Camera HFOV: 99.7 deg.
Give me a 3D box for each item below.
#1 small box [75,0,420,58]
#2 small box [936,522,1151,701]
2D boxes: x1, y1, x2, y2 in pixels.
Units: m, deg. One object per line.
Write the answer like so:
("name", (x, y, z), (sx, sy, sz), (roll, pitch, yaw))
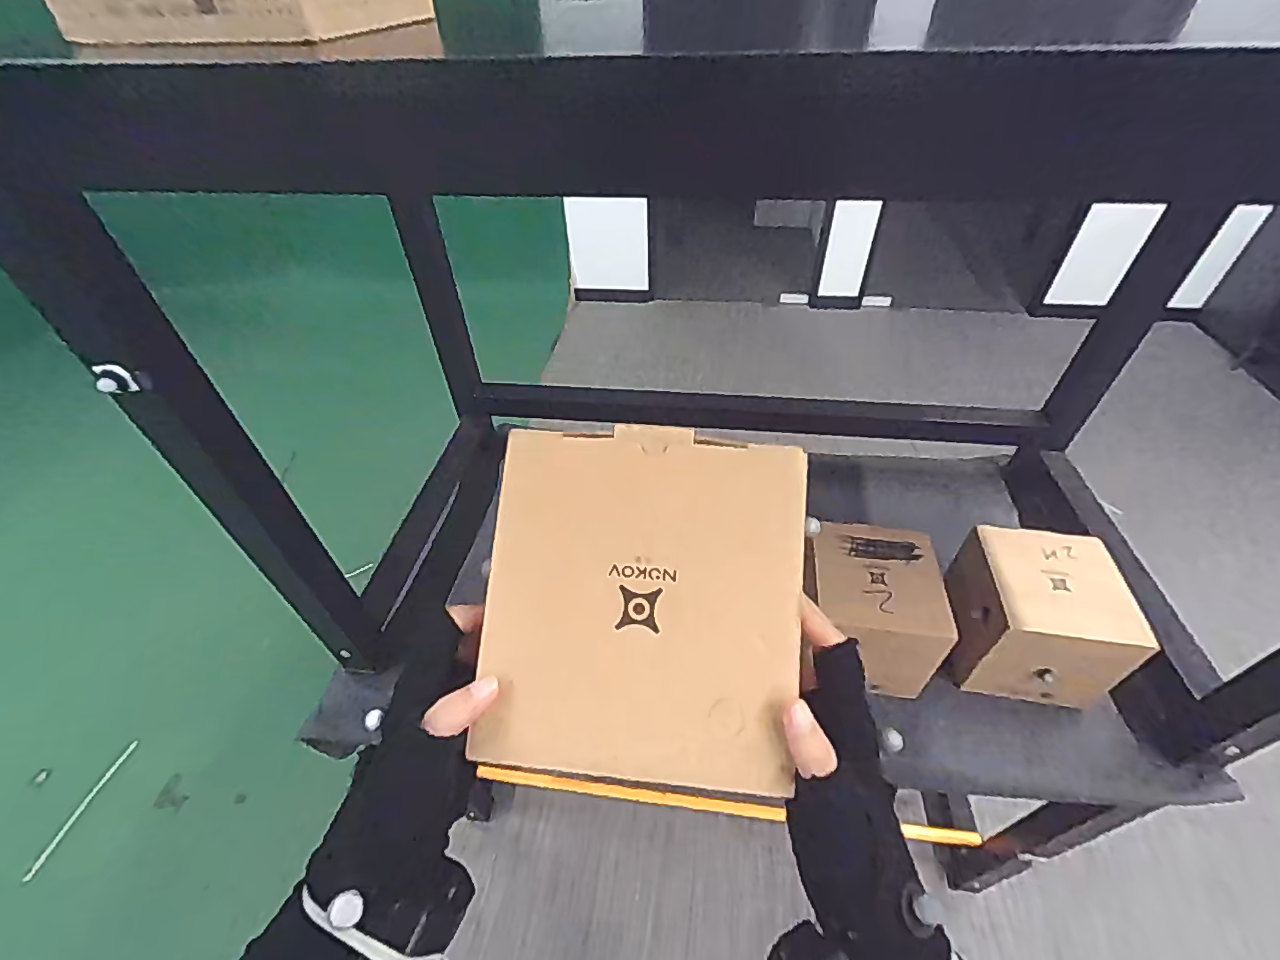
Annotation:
("small box", (-0.259, -0.379, 0.332), (0.168, 0.176, 0.179), (5, 45, 7))
("small box", (0.544, 0.187, 0.764), (0.168, 0.176, 0.179), (7, 44, 9))
